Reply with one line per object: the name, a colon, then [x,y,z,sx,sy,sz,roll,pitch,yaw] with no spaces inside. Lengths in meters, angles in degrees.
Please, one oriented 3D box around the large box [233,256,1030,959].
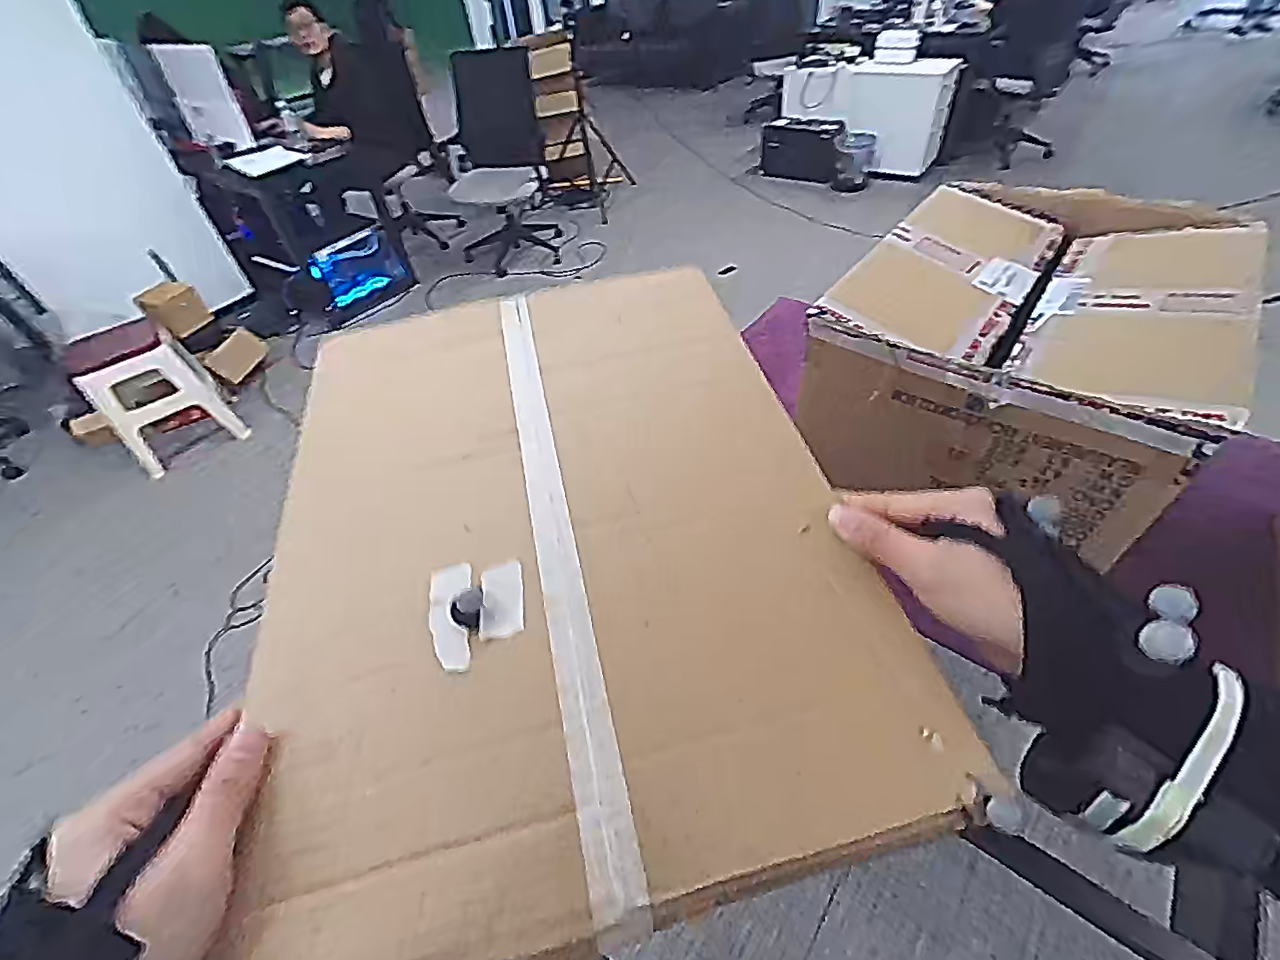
large box: [-0.034,0.088,0.431,0.320,0.320,0.408,-14,53,-5]
